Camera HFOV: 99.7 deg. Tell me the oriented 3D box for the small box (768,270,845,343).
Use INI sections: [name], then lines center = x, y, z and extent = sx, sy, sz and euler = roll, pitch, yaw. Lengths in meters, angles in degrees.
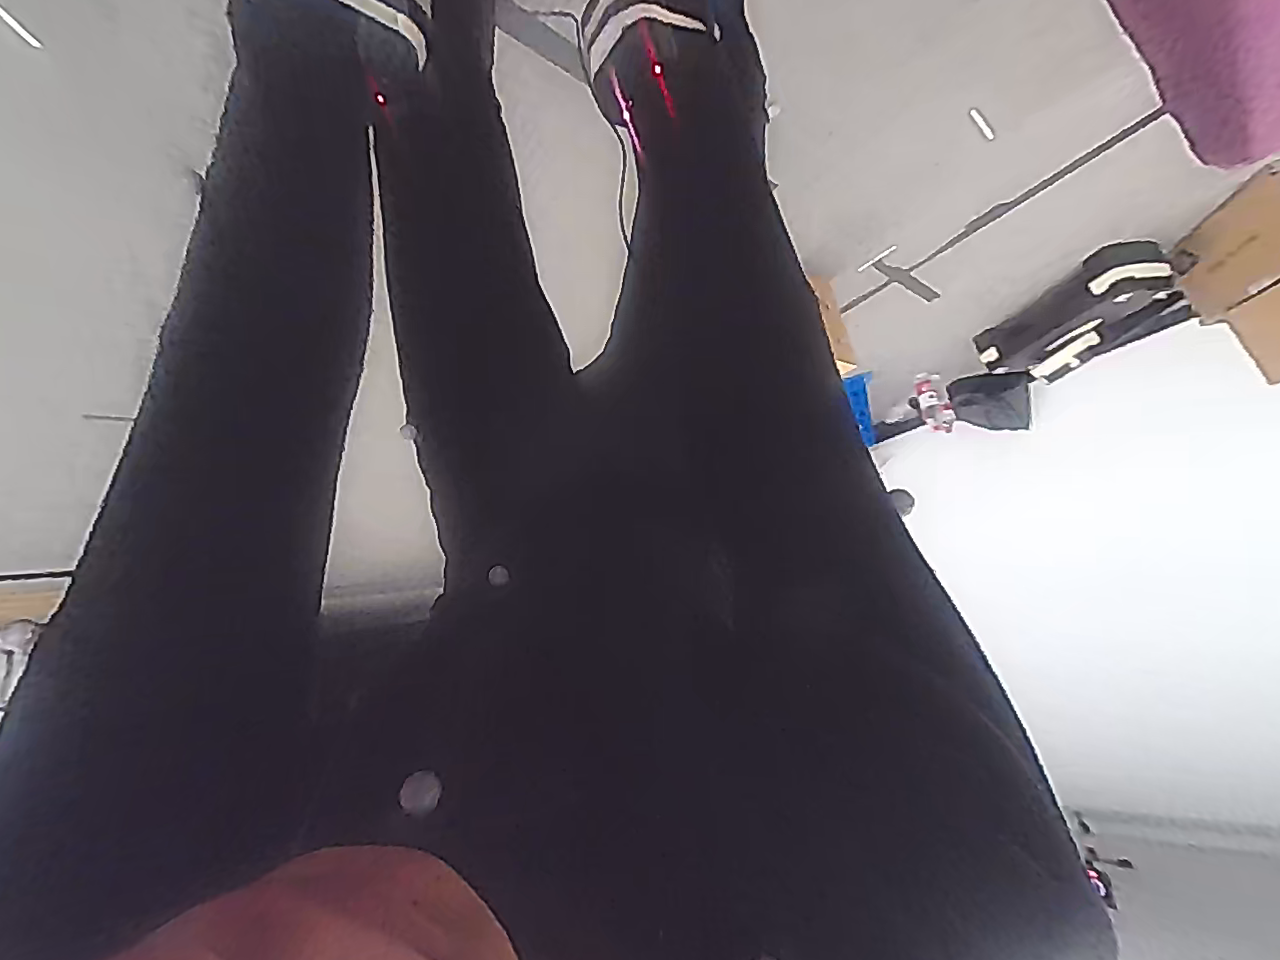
[small box]
center = 0.573, -0.599, 1.869
extent = 0.179, 0.176, 0.168
euler = 1, 161, -37
